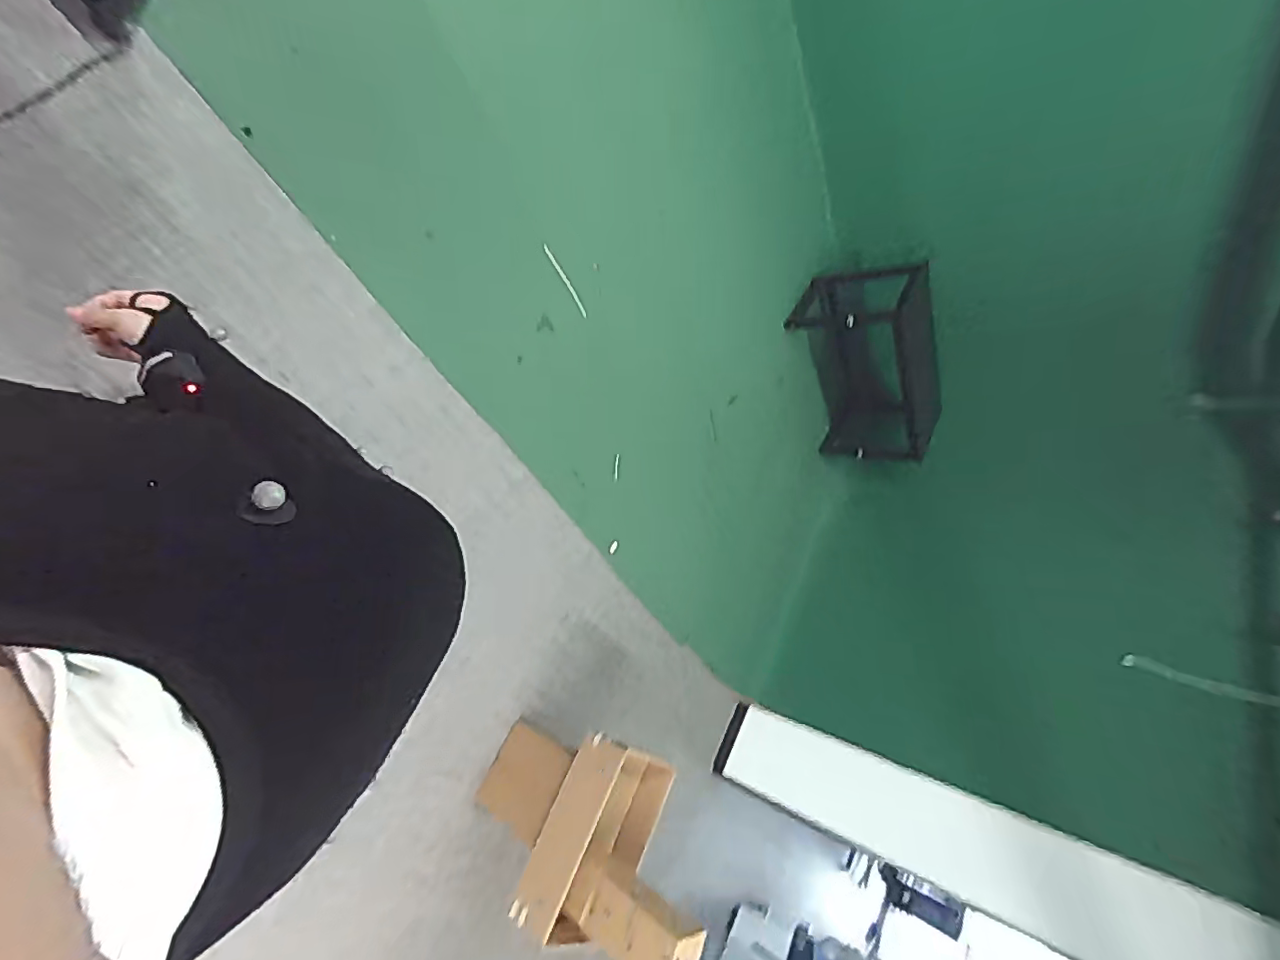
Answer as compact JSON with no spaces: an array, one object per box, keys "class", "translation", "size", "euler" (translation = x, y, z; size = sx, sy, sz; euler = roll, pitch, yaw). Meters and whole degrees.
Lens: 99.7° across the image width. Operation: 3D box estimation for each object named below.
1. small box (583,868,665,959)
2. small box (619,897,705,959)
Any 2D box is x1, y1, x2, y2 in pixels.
[{"class":"small box","translation":[-0.054,1.397,1.754],"size":[0.179,0.176,0.168],"euler":[39,67,-46]},{"class":"small box","translation":[0.068,1.415,1.647],"size":[0.179,0.176,0.168],"euler":[36,68,-47]}]
